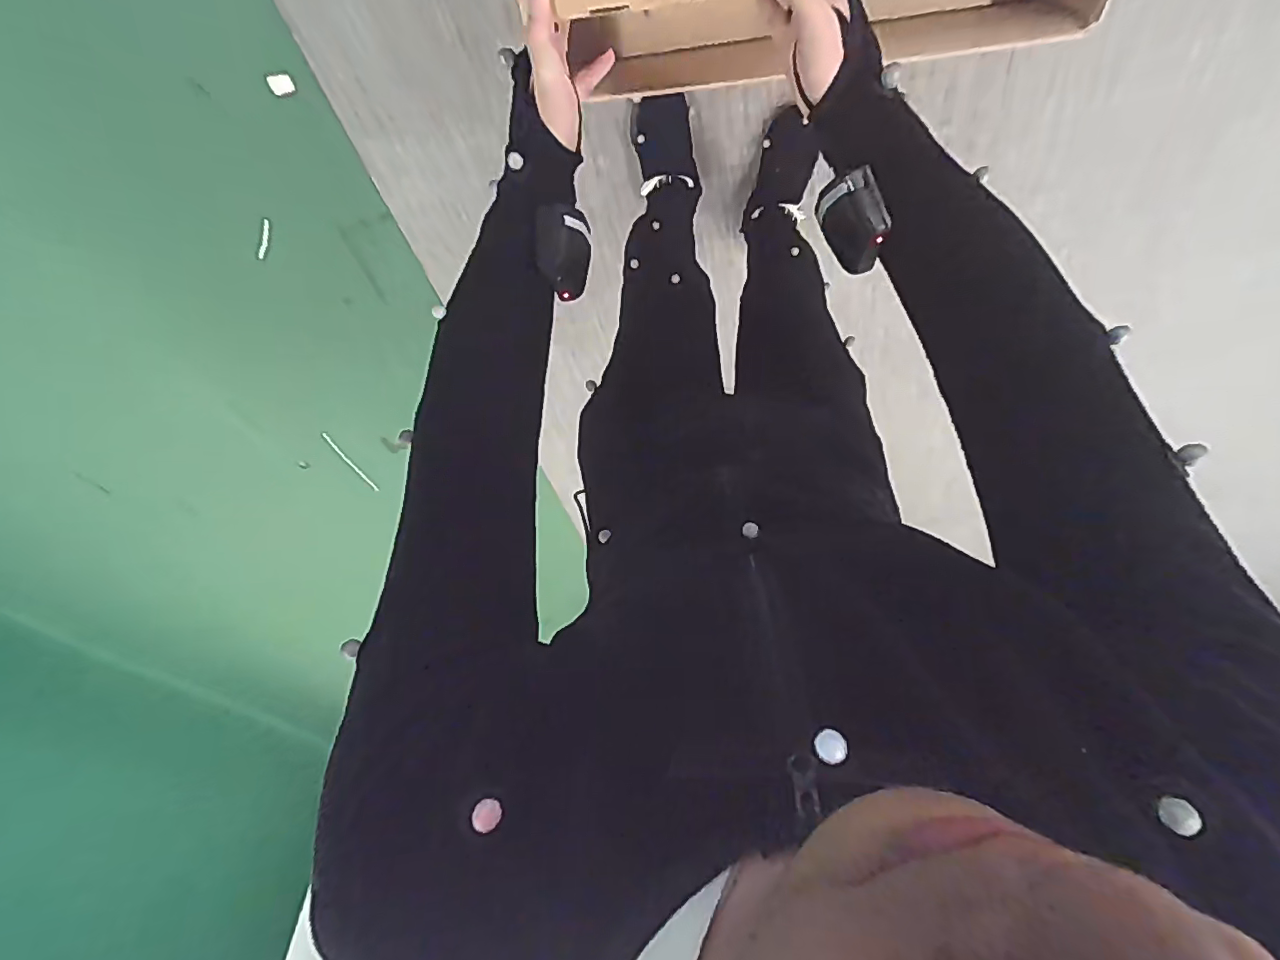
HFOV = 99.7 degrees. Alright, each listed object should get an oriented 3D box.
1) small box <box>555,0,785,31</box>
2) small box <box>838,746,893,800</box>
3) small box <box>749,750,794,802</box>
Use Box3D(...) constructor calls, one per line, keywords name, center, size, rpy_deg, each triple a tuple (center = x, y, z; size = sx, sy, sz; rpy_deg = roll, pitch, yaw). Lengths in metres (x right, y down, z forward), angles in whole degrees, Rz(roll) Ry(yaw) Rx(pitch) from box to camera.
Box3D(name="small box", center=(0.016, -0.448, 0.381), size=(0.168, 0.176, 0.179), rpy_deg=(-3, 137, 6))
Box3D(name="small box", center=(0.923, 1.205, 2.228), size=(0.168, 0.176, 0.179), rpy_deg=(-8, 139, 10))
Box3D(name="small box", center=(0.558, 1.263, 2.305), size=(0.168, 0.176, 0.179), rpy_deg=(-7, 139, 8))
